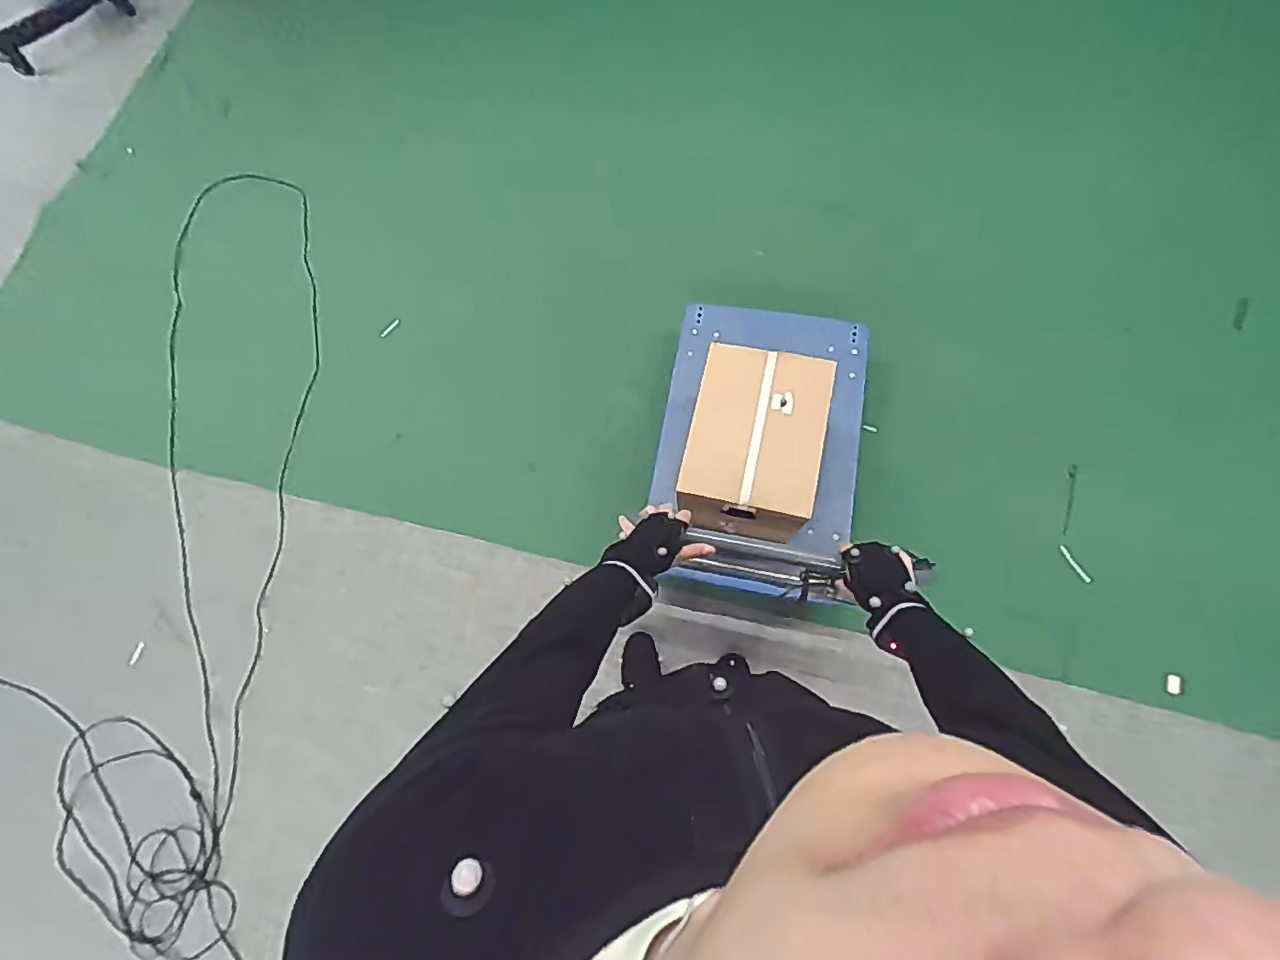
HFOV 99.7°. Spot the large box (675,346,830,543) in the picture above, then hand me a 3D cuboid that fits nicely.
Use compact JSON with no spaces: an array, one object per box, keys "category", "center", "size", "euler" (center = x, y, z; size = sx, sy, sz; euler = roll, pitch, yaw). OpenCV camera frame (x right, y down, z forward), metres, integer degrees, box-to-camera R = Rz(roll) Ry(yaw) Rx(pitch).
[{"category":"large box","center":[0.286,-0.080,1.425],"size":[0.320,0.320,0.408],"euler":[12,73,8]}]
